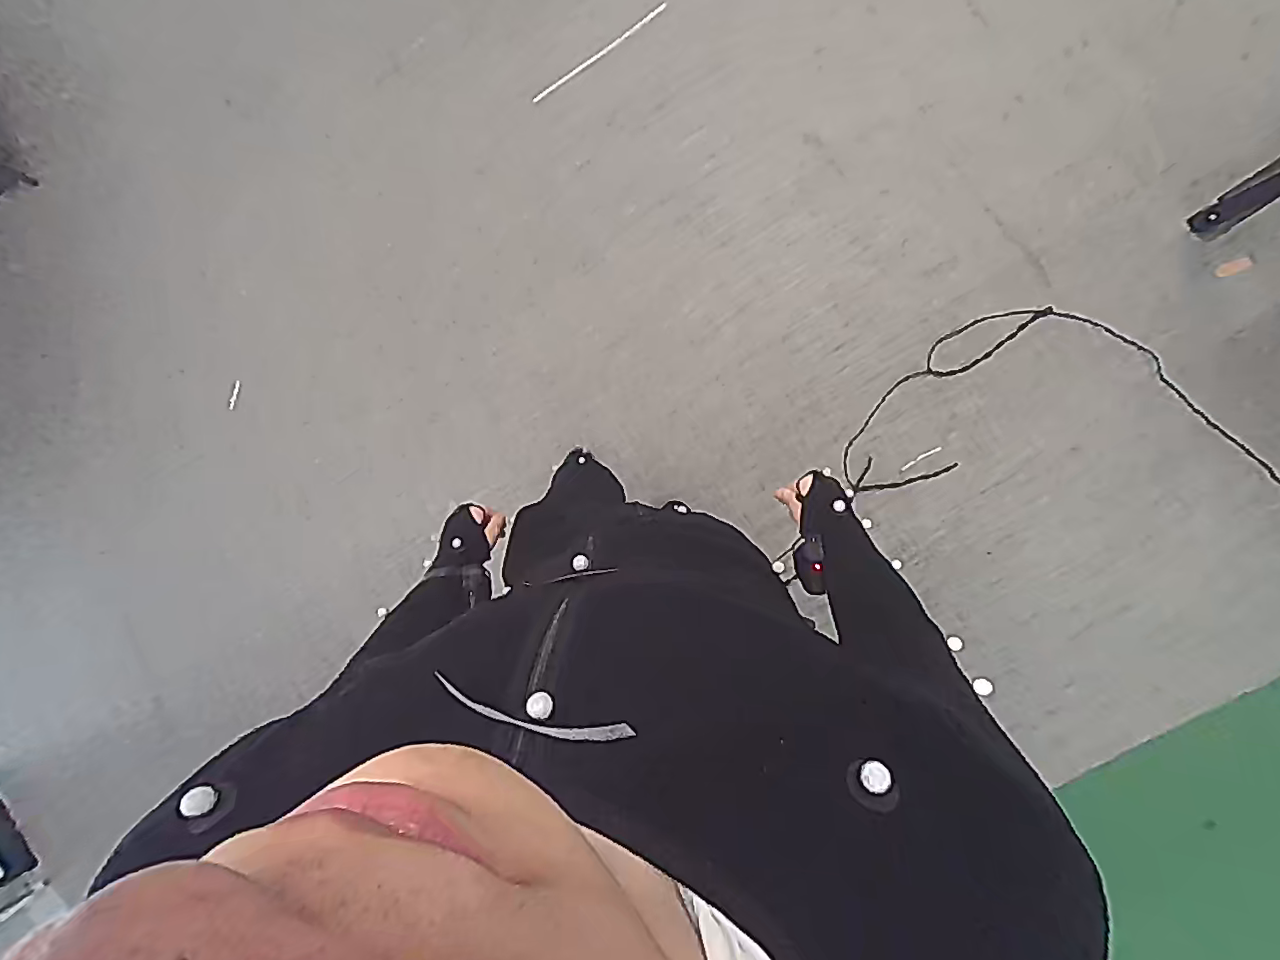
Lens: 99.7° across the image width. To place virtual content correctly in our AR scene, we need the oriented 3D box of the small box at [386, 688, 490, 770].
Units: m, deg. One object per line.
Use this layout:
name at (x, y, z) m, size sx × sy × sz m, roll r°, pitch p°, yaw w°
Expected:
small box at (-0.526, 0.676, 1.429) m, size 0.168 × 0.176 × 0.179 m, roll -26°, pitch 88°, yaw 5°

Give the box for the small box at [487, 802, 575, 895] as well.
small box at (-0.284, 0.989, 1.407) m, size 0.179 × 0.176 × 0.168 m, roll -34°, pitch 87°, yaw 6°

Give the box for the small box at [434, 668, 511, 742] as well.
small box at (-0.499, 0.679, 1.589) m, size 0.179 × 0.176 × 0.168 m, roll -25°, pitch 87°, yaw 4°

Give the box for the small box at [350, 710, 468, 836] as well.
small box at (-0.529, 0.676, 1.266) m, size 0.168 × 0.176 × 0.179 m, roll -22°, pitch 88°, yaw 4°
